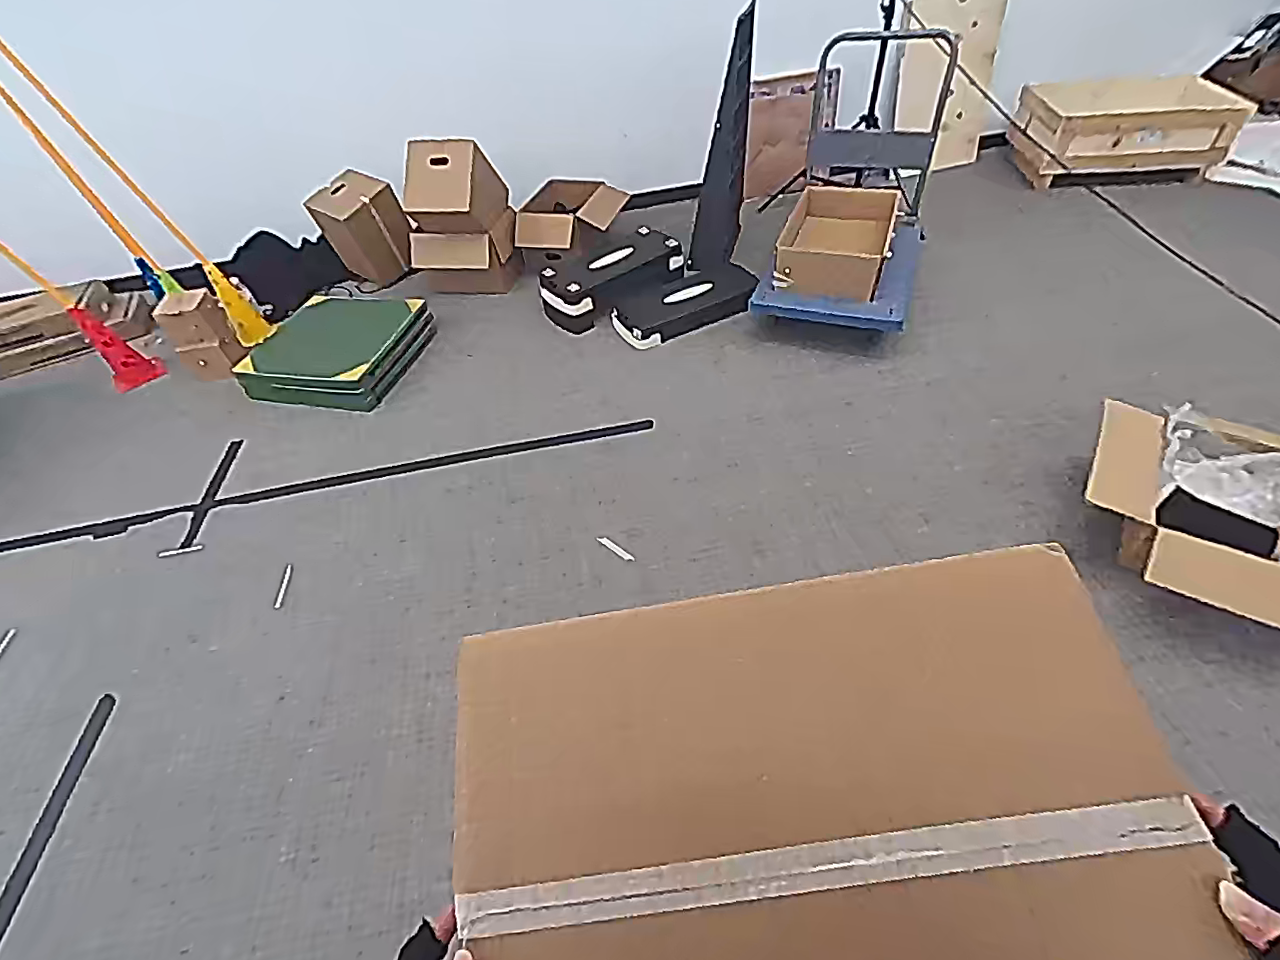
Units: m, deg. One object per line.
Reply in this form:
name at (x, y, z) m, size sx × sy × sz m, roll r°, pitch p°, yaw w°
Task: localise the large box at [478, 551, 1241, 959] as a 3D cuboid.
large box at (0.117, 0.282, 0.445) m, size 0.408 × 0.320 × 0.320 m, roll -10°, pitch 65°, yaw 4°
